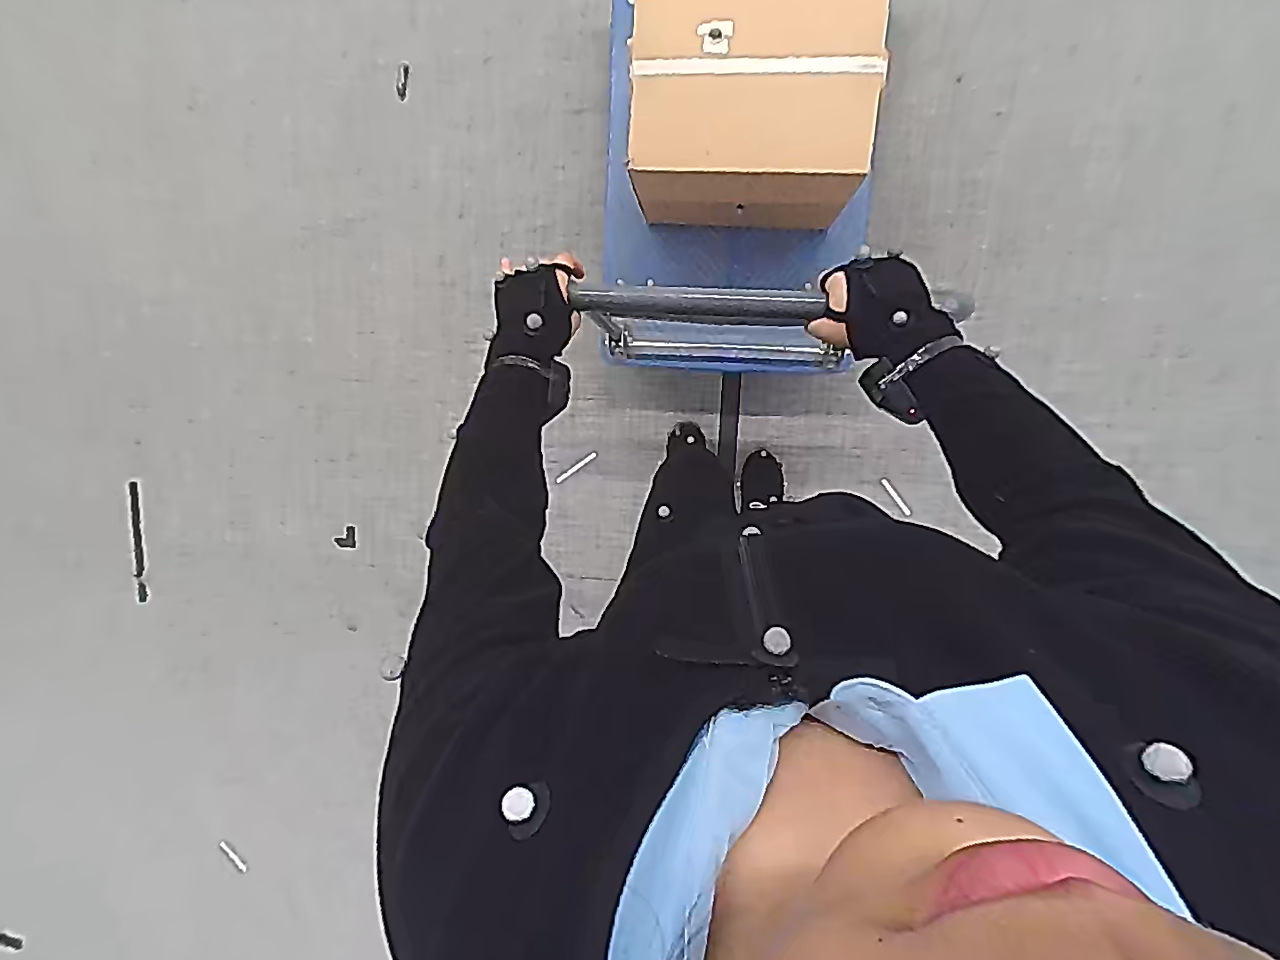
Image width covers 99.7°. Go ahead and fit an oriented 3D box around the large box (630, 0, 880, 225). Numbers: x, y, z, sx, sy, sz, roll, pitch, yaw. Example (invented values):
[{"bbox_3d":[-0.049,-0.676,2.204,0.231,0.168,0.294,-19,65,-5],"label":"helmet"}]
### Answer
[{"bbox_3d":[0.208,-0.702,1.052,0.408,0.320,0.320,4,98,8],"label":"large box"}]
